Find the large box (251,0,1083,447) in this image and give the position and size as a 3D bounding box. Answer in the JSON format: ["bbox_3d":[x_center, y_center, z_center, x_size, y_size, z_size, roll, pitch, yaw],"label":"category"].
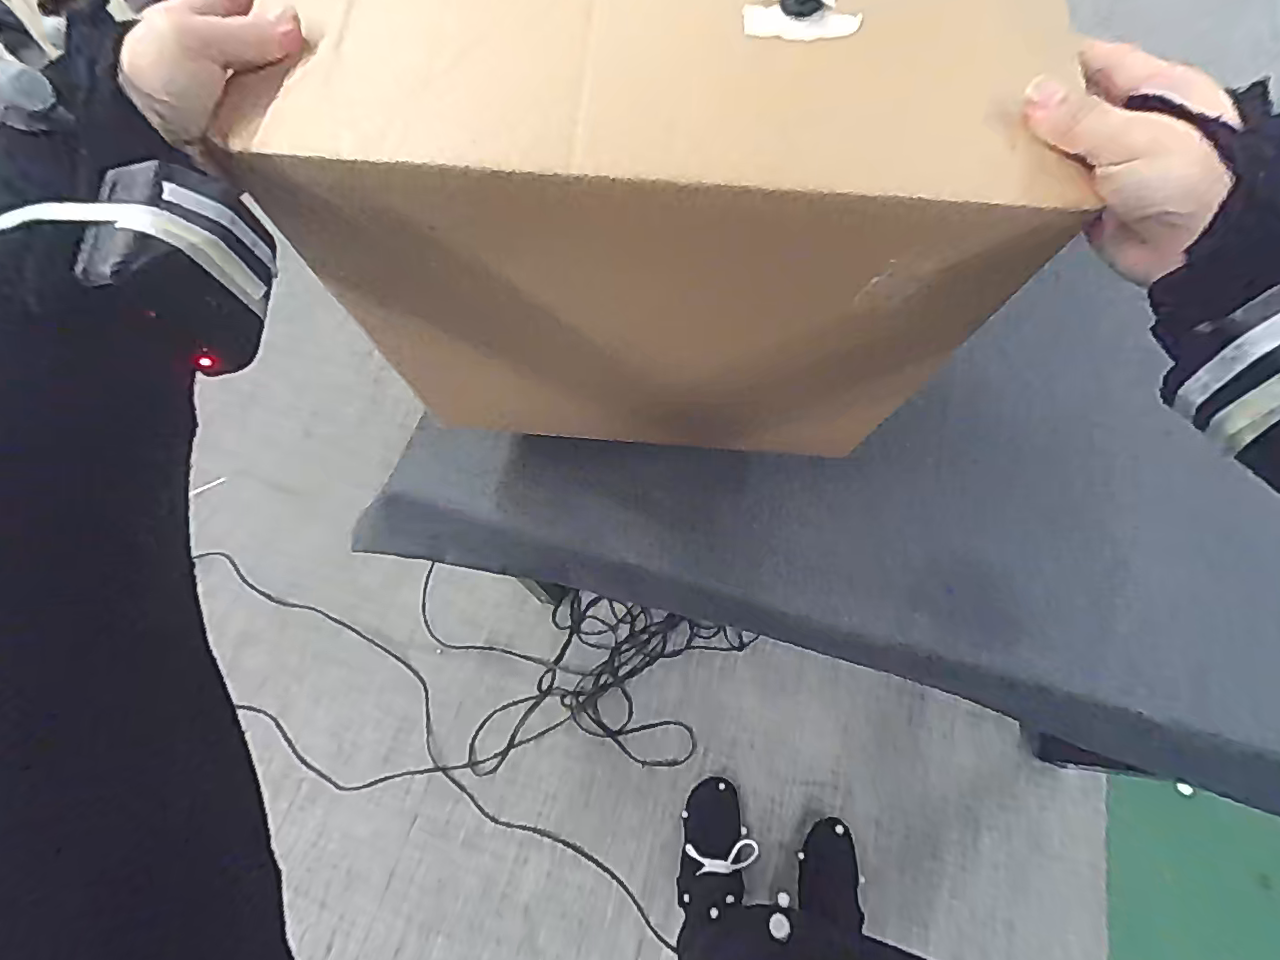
[{"bbox_3d":[0.017,-0.232,0.441,0.408,0.320,0.320,4,72,-1],"label":"large box"}]
